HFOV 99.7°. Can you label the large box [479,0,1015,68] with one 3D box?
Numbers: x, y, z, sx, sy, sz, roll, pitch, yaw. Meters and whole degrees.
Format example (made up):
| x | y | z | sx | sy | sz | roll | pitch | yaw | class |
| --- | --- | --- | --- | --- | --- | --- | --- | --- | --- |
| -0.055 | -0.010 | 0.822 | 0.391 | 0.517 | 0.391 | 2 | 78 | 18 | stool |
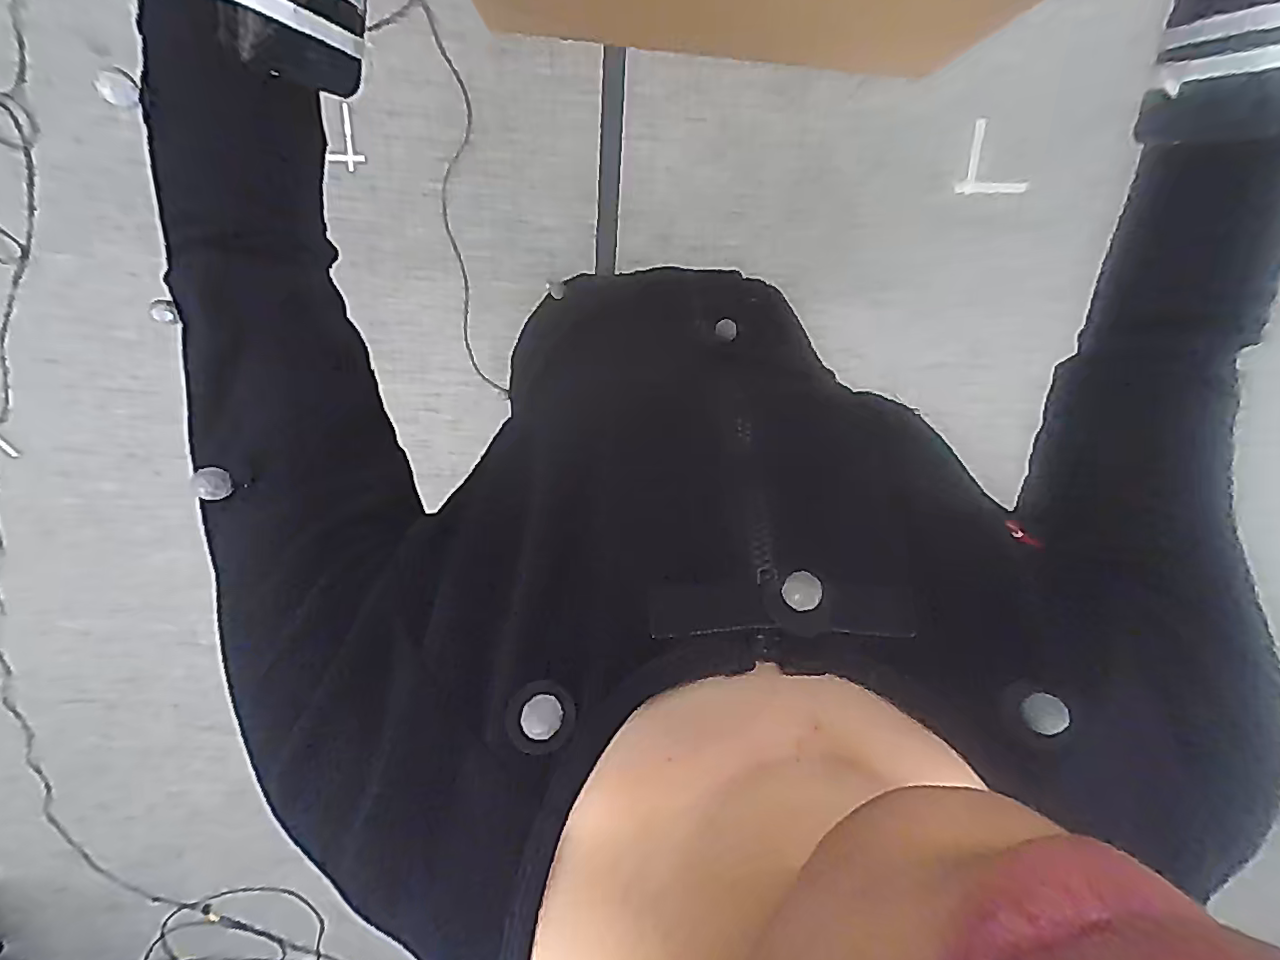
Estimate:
| x | y | z | sx | sy | sz | roll | pitch | yaw | class |
| --- | --- | --- | --- | --- | --- | --- | --- | --- | --- |
| 0.080 | -0.478 | 0.298 | 0.408 | 0.320 | 0.320 | 3 | 111 | -4 | large box |
